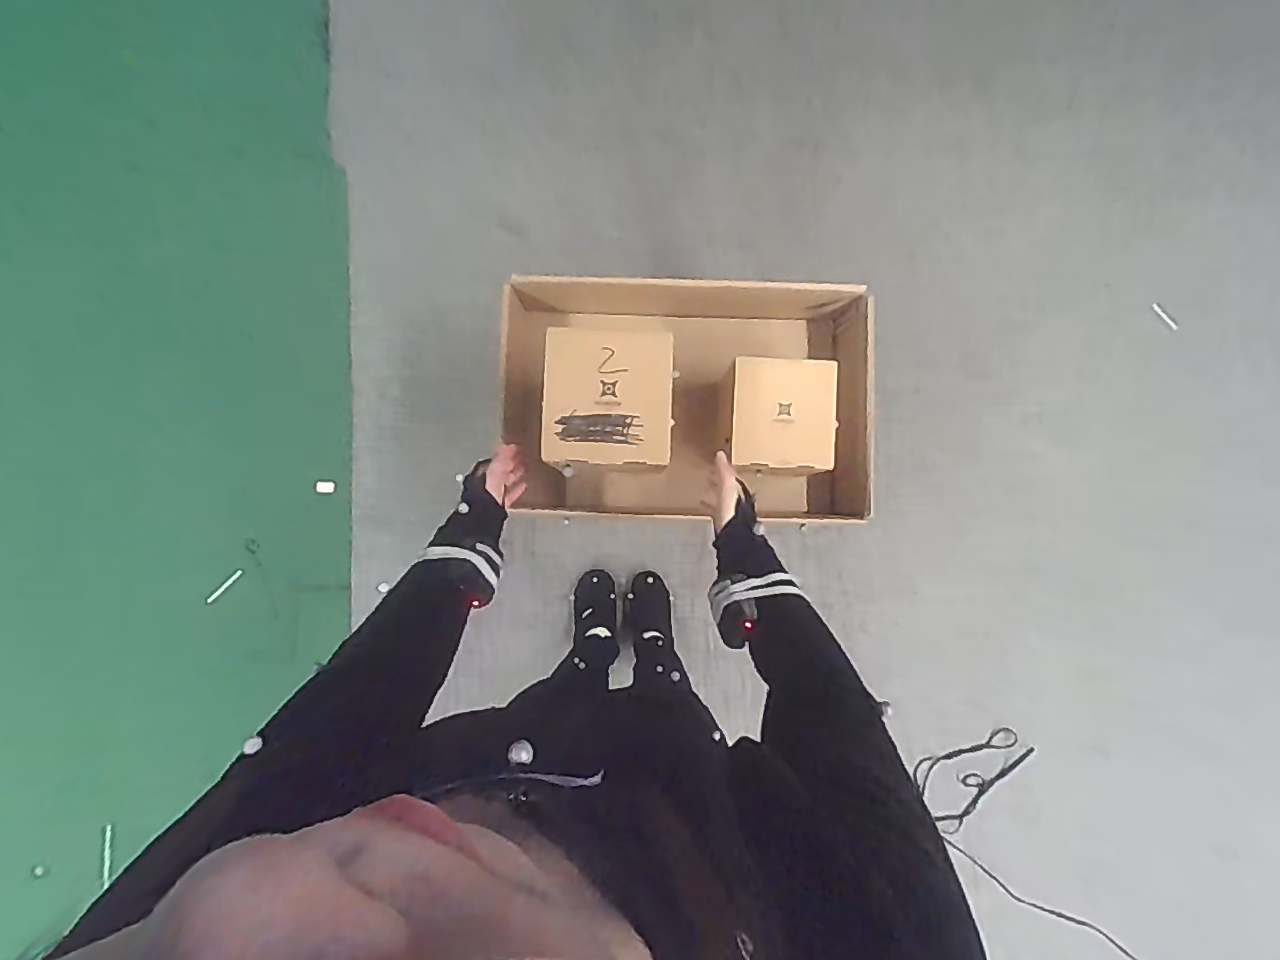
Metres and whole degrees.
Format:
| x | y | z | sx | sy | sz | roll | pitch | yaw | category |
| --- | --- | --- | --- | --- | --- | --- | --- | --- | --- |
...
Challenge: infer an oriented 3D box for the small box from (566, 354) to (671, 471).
| x | y | z | sx | sy | sz | roll | pitch | yaw | category |
| --- | --- | --- | --- | --- | --- | --- | --- | --- | --- |
| -0.035 | -0.109 | 0.935 | 0.168 | 0.176 | 0.179 | 1 | 88 | 0 | small box |
